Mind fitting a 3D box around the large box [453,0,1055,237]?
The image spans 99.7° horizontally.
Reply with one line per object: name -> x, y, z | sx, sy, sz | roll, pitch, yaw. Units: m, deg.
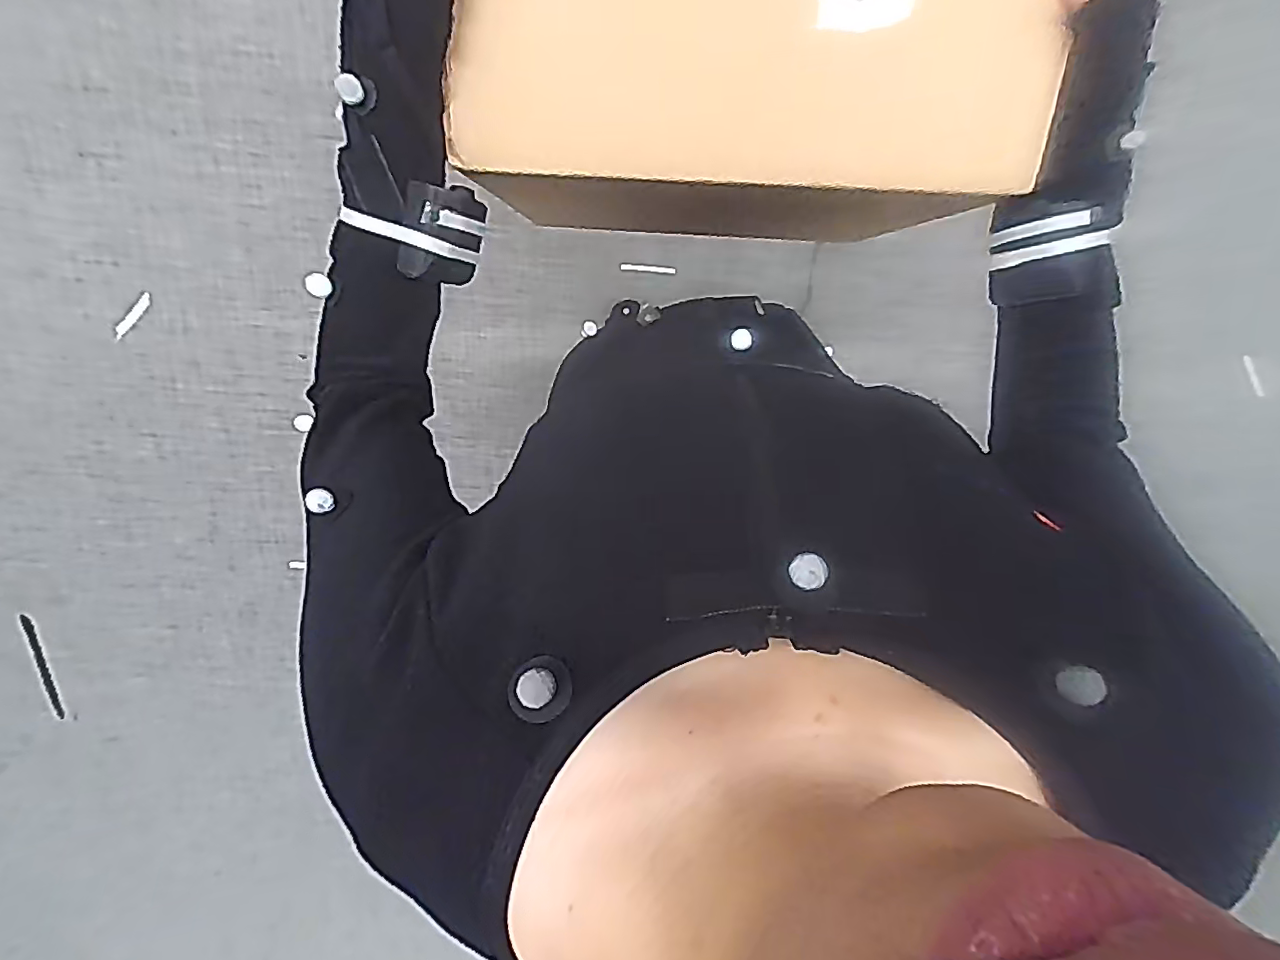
large box -> 0.074, -0.407, 0.482 | 0.408, 0.320, 0.320 | 2, 108, -1
